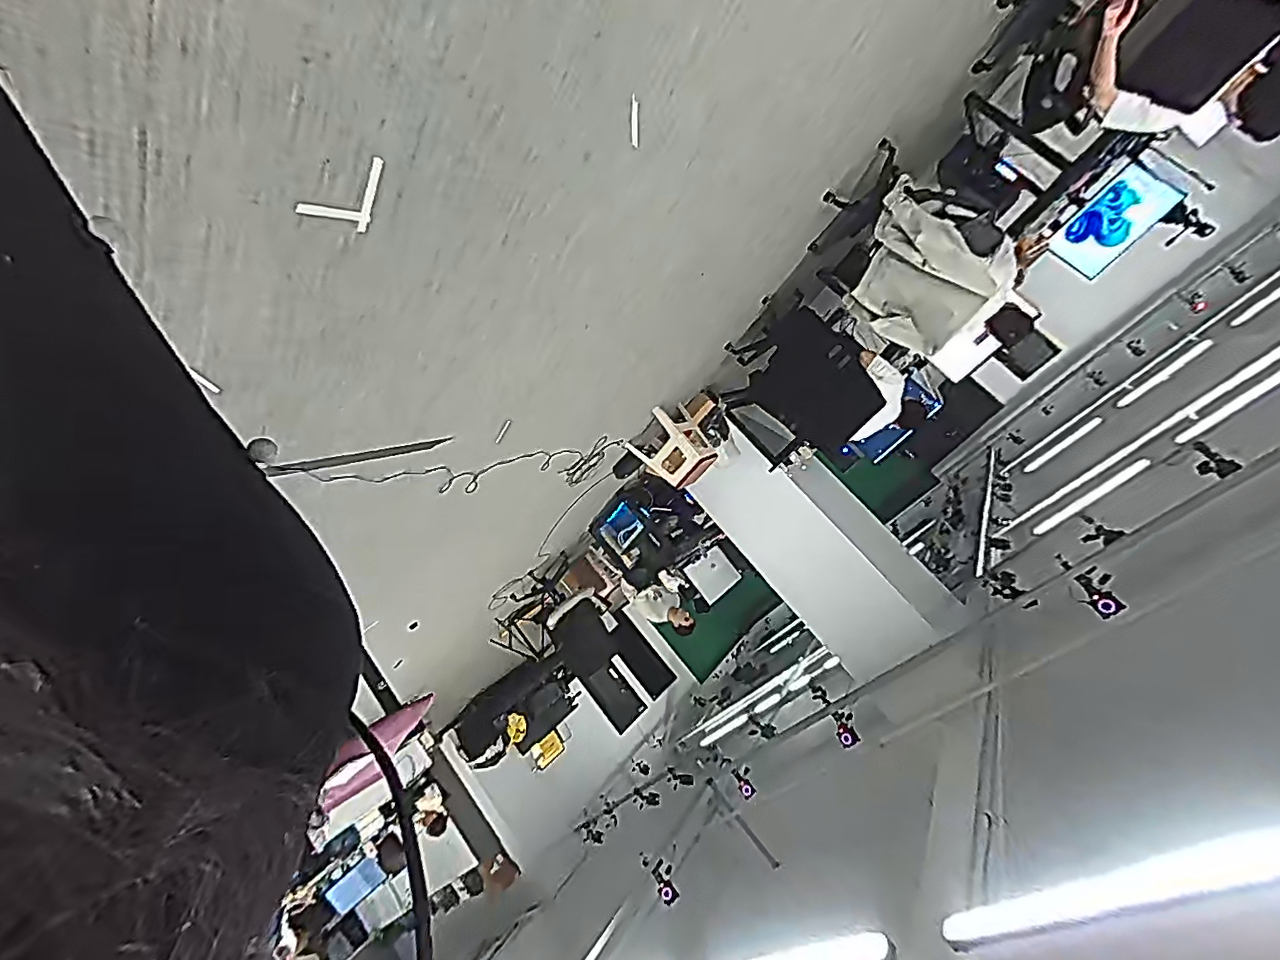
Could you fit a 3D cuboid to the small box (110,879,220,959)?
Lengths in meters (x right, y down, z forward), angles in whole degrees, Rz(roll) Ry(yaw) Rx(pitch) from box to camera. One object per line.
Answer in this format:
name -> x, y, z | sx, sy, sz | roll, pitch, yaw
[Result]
small box -> -1.429, 1.361, 1.627 | 0.168, 0.176, 0.179 | -45, 165, 18
